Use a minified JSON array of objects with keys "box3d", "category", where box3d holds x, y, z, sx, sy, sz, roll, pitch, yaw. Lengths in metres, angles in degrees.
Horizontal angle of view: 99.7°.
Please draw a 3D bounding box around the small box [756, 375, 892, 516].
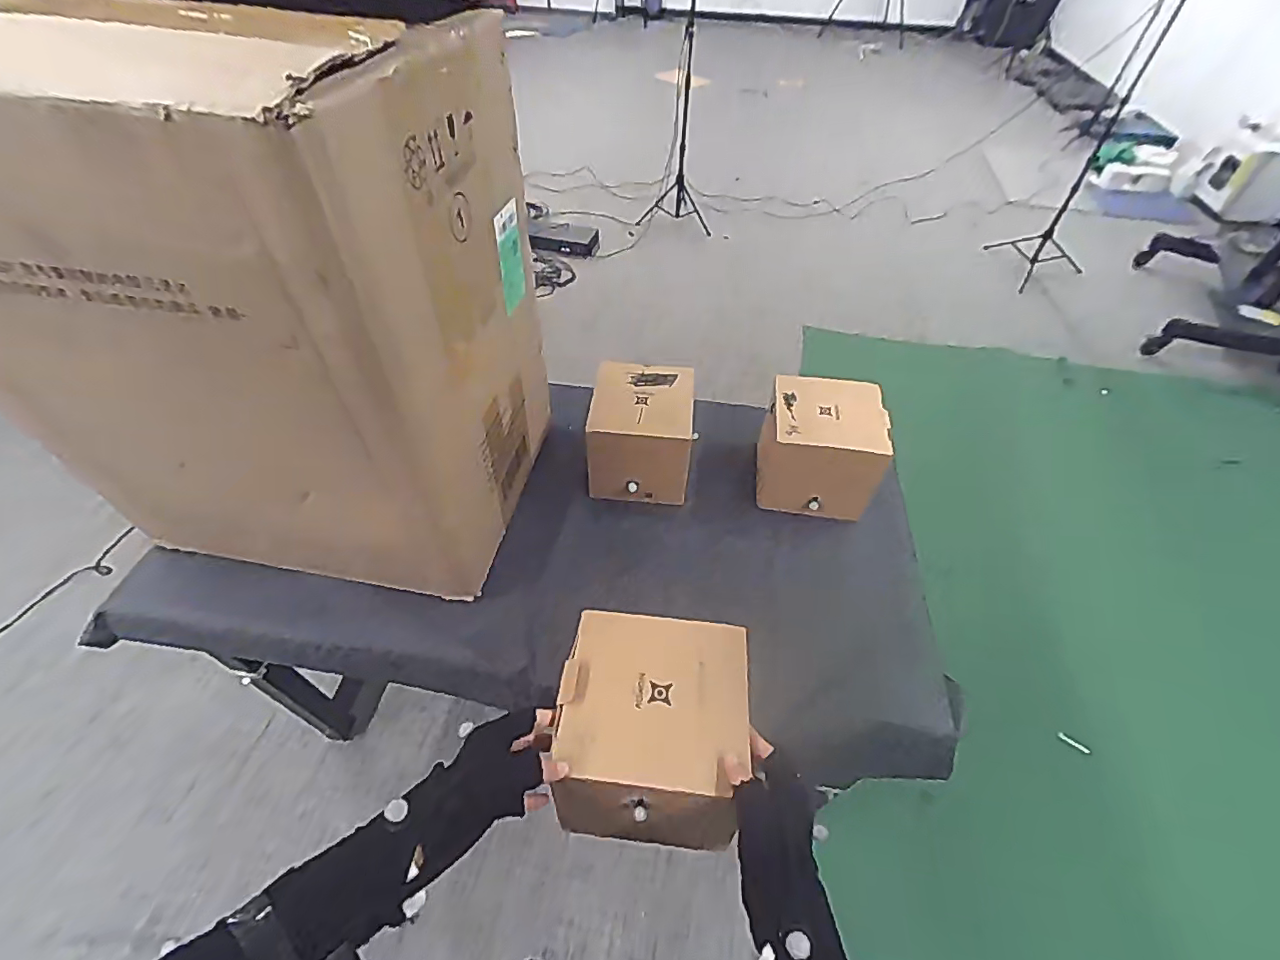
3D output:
[{"box3d":[0.305,-0.055,0.930,0.179,0.176,0.168,8,50,4],"category":"small box"}]
